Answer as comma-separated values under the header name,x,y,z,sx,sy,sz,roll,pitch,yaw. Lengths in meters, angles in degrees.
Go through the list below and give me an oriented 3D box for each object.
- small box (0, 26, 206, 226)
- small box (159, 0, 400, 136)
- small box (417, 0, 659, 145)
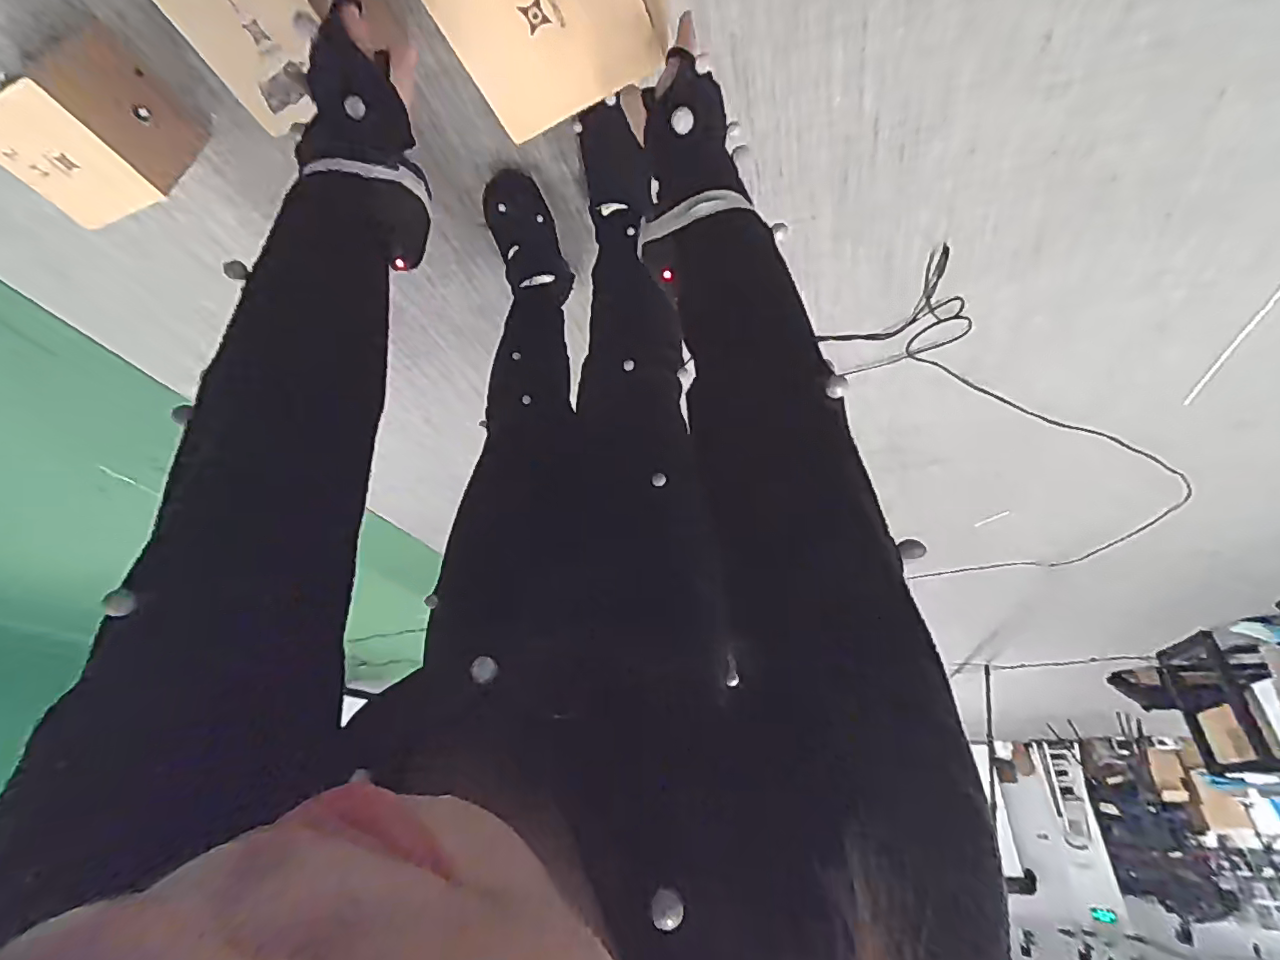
name,x,y,z,sx,sy,sz,roll,pitch,yaw
small box,-0.795,-0.519,0.799,0.179,0.176,0.168,-8,148,17
small box,-0.432,-0.580,0.671,0.168,0.176,0.179,-8,148,16
small box,-0.089,-0.474,0.515,0.179,0.176,0.168,-13,147,22
